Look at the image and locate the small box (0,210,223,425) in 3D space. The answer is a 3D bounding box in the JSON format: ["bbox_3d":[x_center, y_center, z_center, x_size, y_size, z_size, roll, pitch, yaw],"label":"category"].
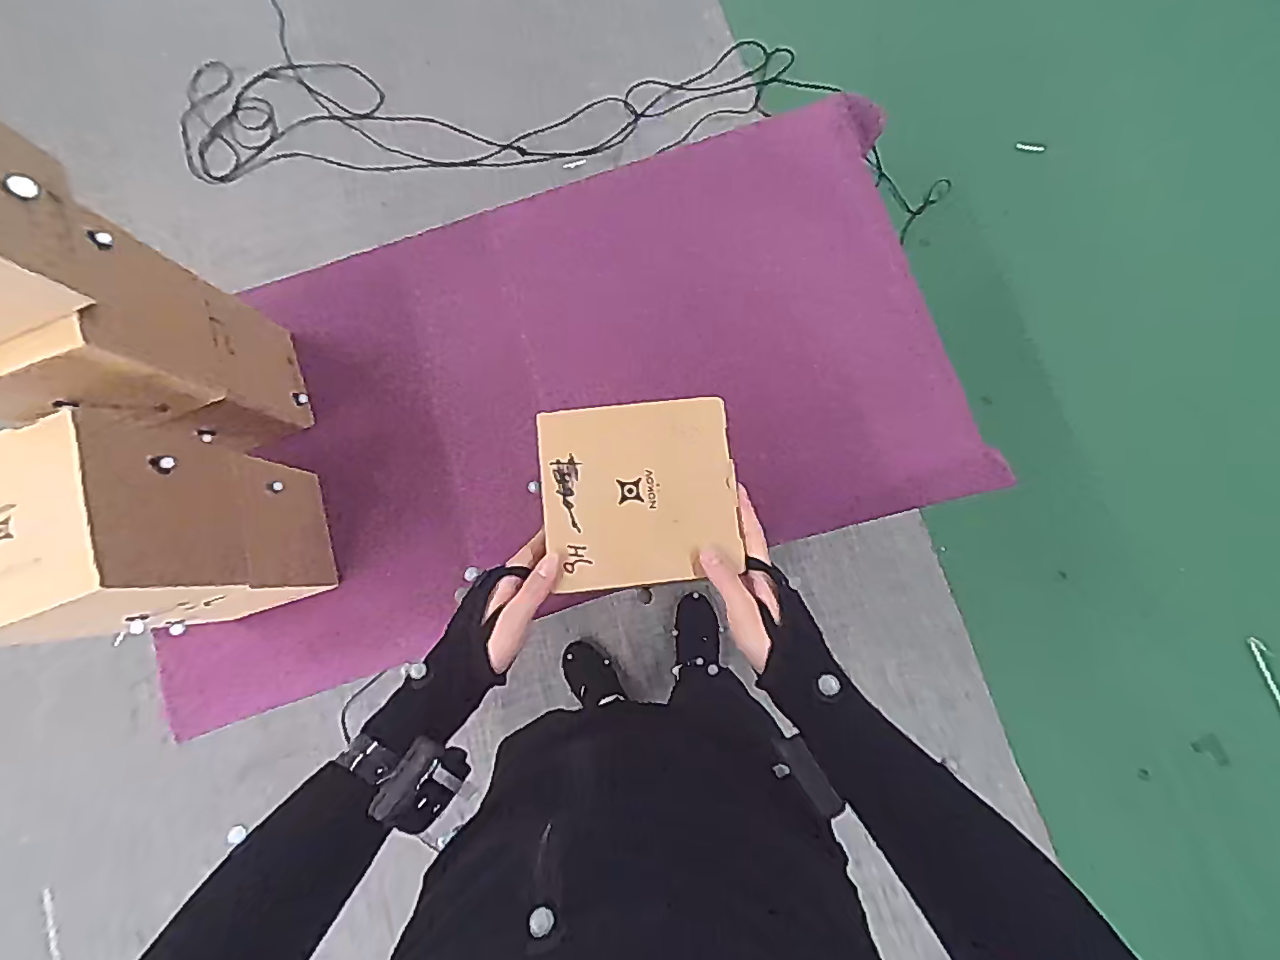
[{"bbox_3d":[-0.609,-0.166,0.597,0.168,0.176,0.179,-20,80,0],"label":"small box"}]

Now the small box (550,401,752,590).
[{"bbox_3d":[0.003,0.026,0.566,0.179,0.176,0.168,-4,77,-3],"label":"small box"}]

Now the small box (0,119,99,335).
[{"bbox_3d":[-0.616,-0.220,0.439,0.179,0.176,0.168,-23,80,-1],"label":"small box"}]

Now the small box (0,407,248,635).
[{"bbox_3d":[-0.553,0.051,0.556,0.168,0.176,0.179,-20,80,0],"label":"small box"}]
